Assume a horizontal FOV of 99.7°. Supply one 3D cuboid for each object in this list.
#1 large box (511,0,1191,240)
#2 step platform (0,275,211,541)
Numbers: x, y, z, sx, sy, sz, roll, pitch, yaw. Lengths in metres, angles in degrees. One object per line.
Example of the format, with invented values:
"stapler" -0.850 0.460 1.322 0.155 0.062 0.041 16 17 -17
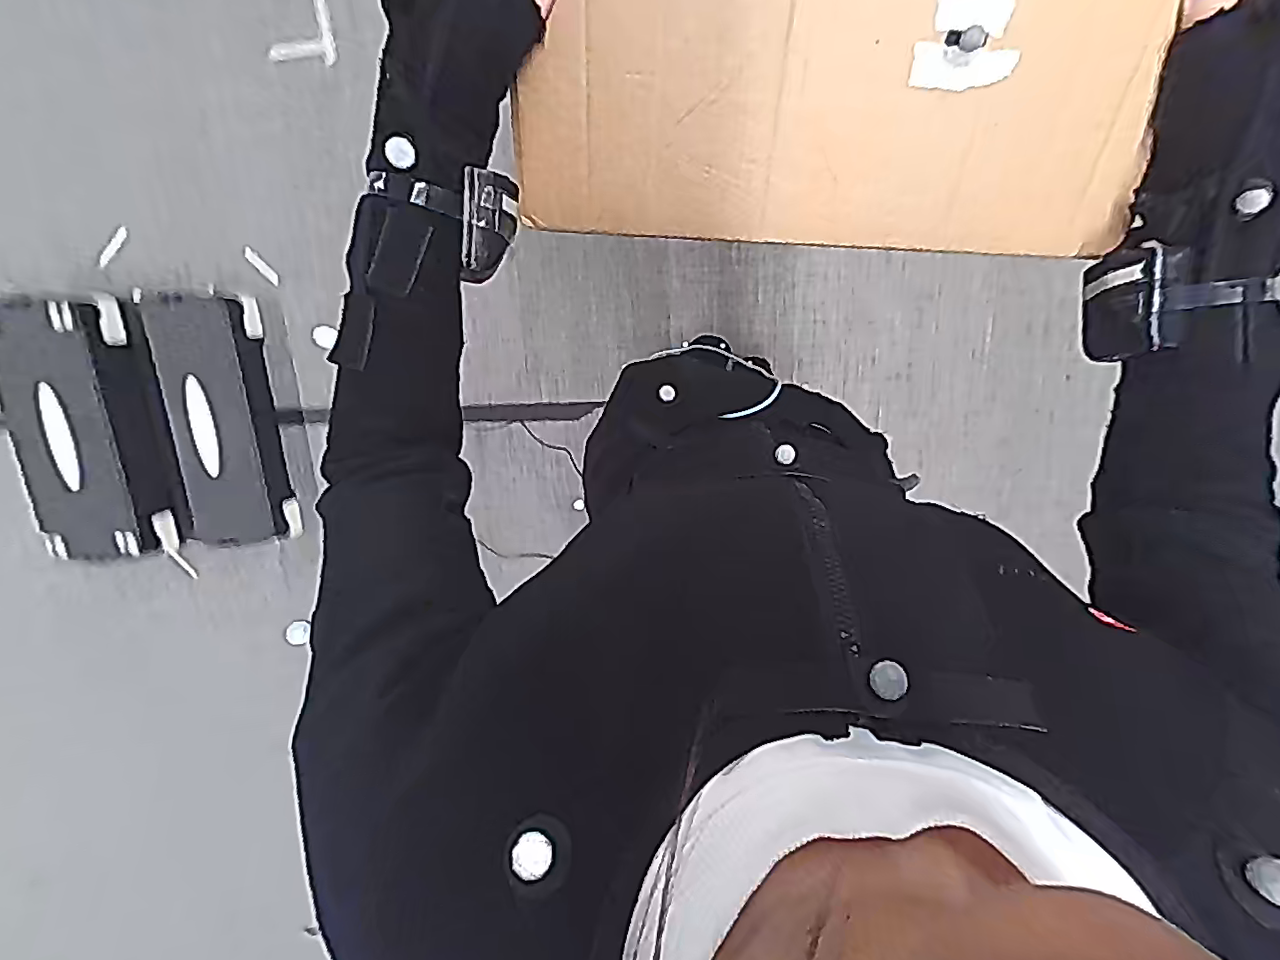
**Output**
"large box" 0.126 -0.380 0.435 0.408 0.320 0.320 2 121 2
"step platform" -1.413 -0.180 1.432 0.286 0.204 0.684 -2 103 4
